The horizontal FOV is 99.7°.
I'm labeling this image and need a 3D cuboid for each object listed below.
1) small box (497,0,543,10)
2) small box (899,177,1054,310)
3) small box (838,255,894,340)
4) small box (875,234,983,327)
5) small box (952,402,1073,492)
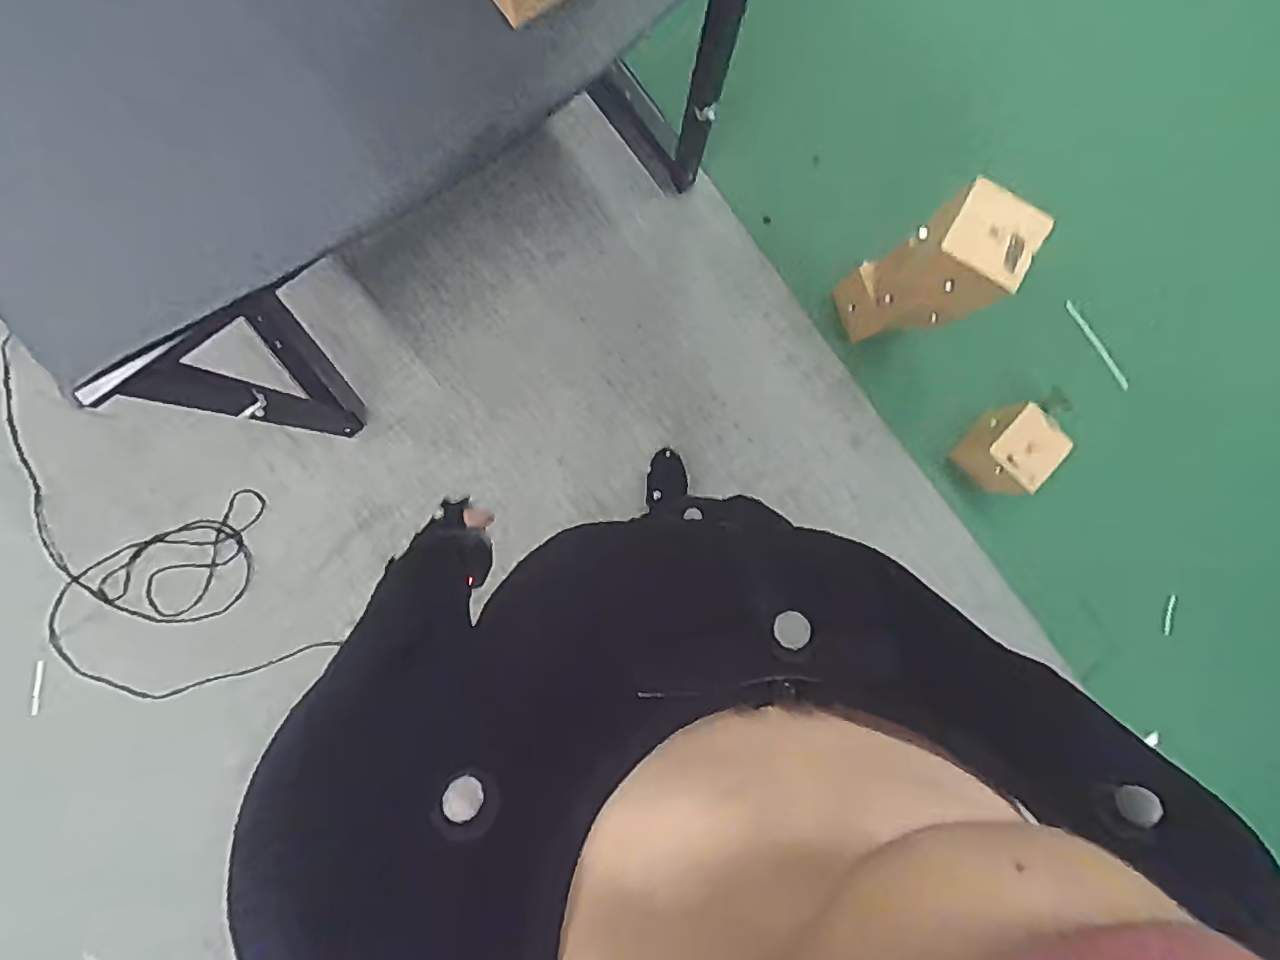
[{"bbox_3d":[-0.153,-0.738,0.663,0.168,0.176,0.179,-37,91,-3],"label":"small box"},{"bbox_3d":[0.685,-0.475,1.121,0.179,0.176,0.168,30,89,-3],"label":"small box"},{"bbox_3d":[0.654,-0.495,1.447,0.179,0.176,0.168,-21,91,-4],"label":"small box"},{"bbox_3d":[0.679,-0.467,1.286,0.179,0.176,0.168,0,91,-5],"label":"small box"},{"bbox_3d":[0.999,-0.085,1.468,0.168,0.176,0.179,43,86,-3],"label":"small box"}]
